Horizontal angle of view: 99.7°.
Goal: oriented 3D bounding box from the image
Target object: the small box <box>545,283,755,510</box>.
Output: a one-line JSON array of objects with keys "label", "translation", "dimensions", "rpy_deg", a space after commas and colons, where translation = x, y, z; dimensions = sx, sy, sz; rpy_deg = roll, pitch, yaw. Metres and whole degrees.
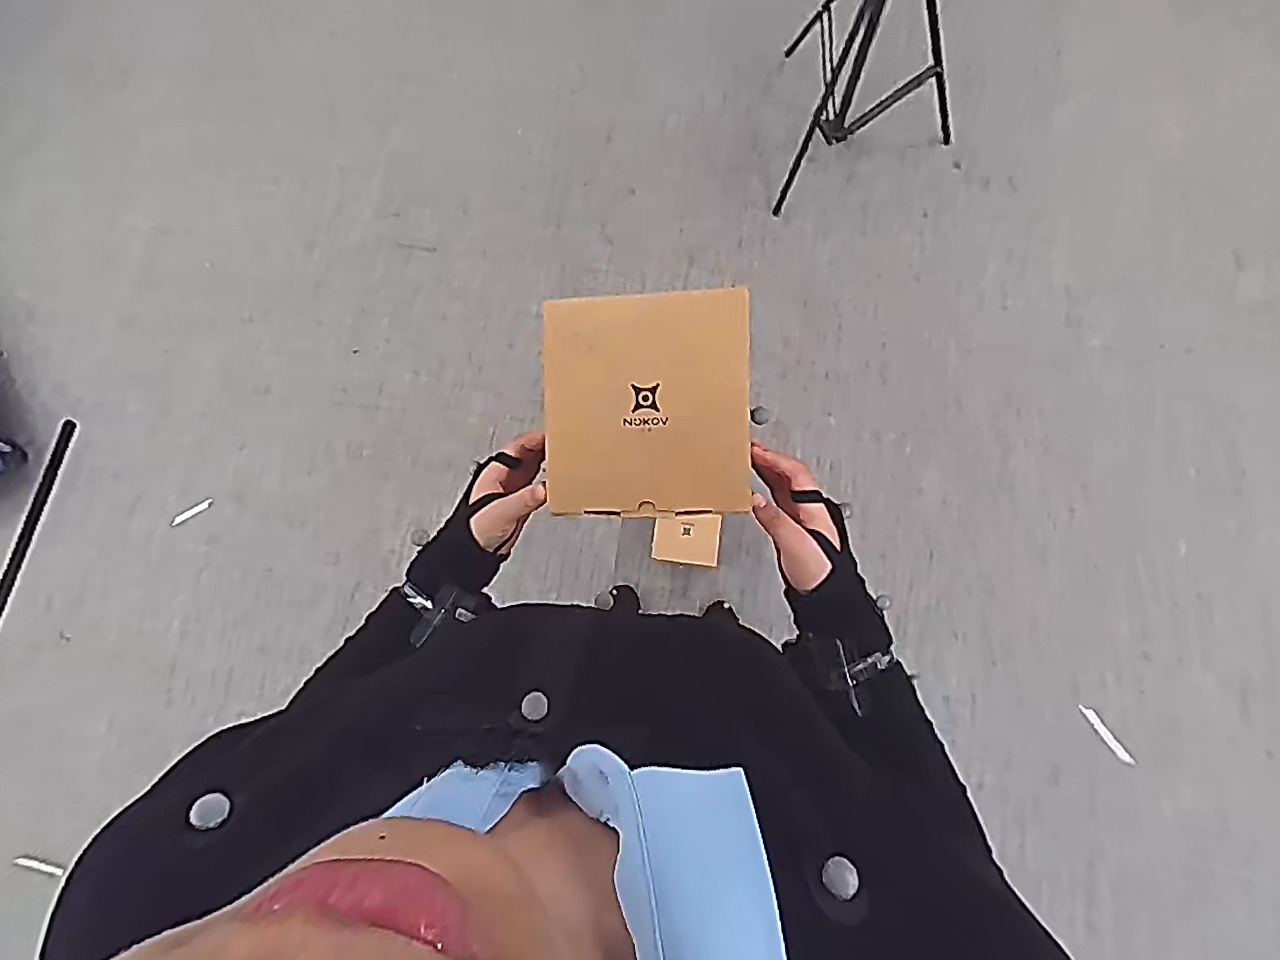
[{"label": "small box", "translation": [0.015, -0.064, 0.500], "dimensions": [0.168, 0.176, 0.179], "rpy_deg": [-1, 91, 7]}]

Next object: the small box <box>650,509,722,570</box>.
[{"label": "small box", "translation": [0.123, 0.143, 1.437], "dimensions": [0.168, 0.176, 0.179], "rpy_deg": [7, 79, 6]}]
